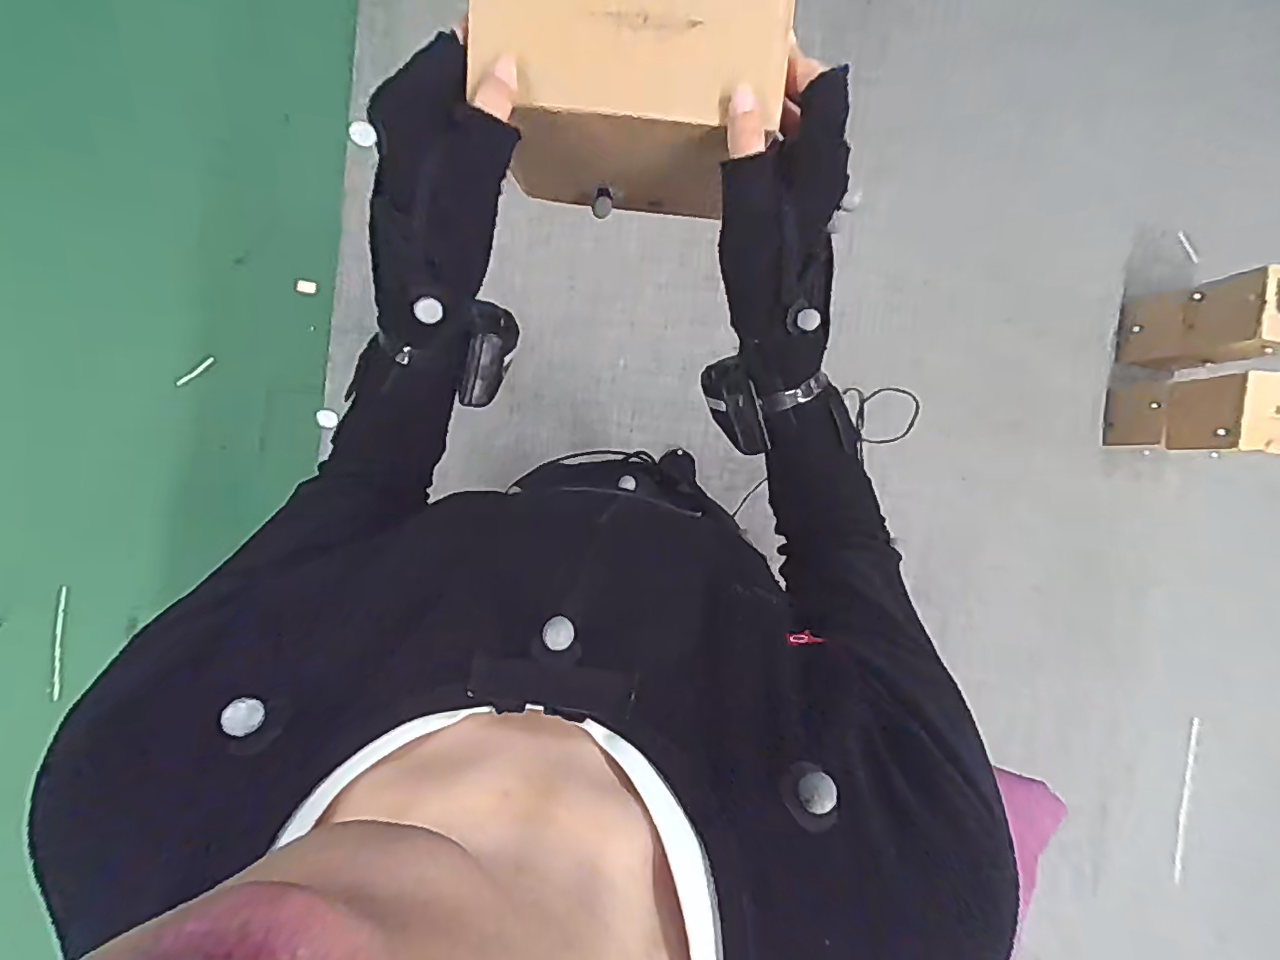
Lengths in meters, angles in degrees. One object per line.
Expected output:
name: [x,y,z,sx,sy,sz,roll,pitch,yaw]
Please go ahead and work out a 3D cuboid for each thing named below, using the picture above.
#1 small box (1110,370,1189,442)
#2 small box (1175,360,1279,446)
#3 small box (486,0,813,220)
small box: [1.389,-0.186,1.406,0.179,0.176,0.168,4,93,-2]
small box: [1.395,-0.172,1.243,0.168,0.176,0.179,3,94,-1]
small box: [0.008,-0.288,0.344,0.168,0.176,0.179,5,102,-1]
